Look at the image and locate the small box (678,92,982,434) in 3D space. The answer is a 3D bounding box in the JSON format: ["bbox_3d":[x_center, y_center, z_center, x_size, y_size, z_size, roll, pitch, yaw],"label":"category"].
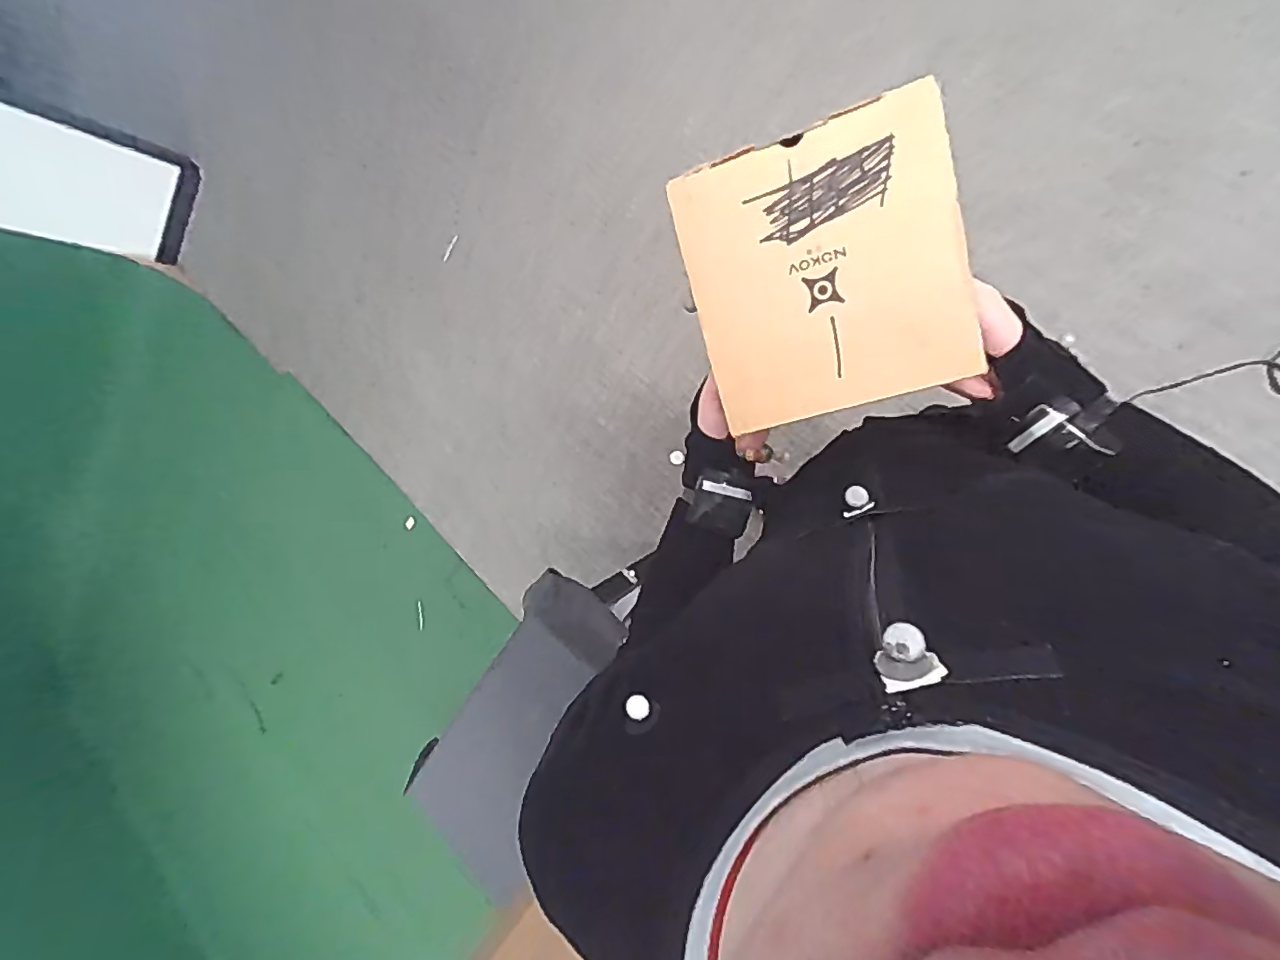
[{"bbox_3d":[0.139,-0.149,0.426,0.168,0.176,0.179,-12,101,17],"label":"small box"}]
